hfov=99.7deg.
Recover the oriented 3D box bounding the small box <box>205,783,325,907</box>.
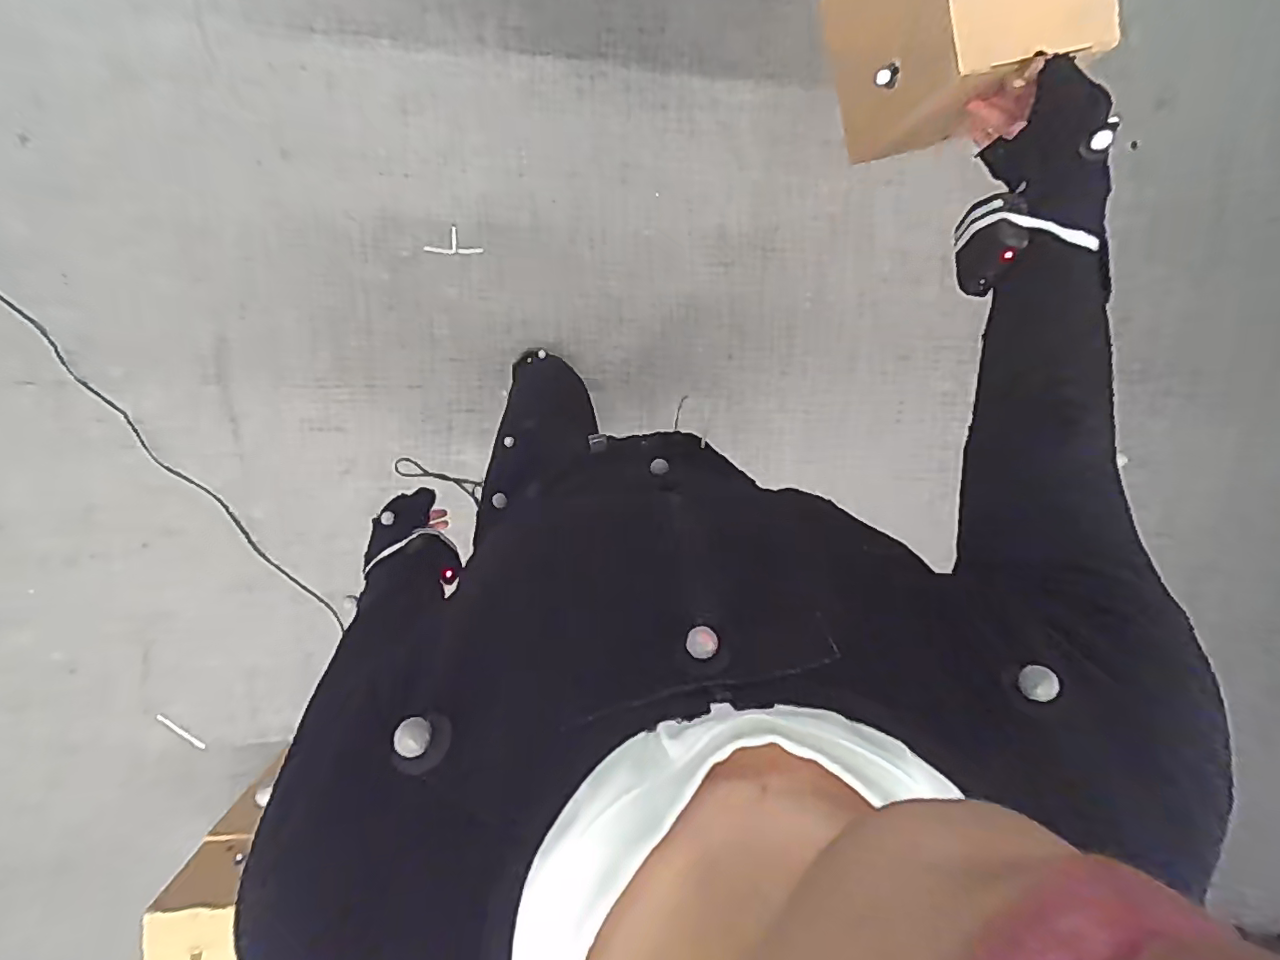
[{"bbox_3d":[-0.815,0.803,1.192,0.168,0.176,0.179,2,95,-8],"label":"small box"}]

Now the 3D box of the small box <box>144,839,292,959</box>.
[{"bbox_3d":[-0.792,0.830,1.033,0.168,0.176,0.179,2,95,-8],"label":"small box"}]

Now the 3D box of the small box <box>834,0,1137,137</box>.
[{"bbox_3d":[0.306,-0.455,0.509,0.168,0.176,0.179,-16,99,-8],"label":"small box"}]
